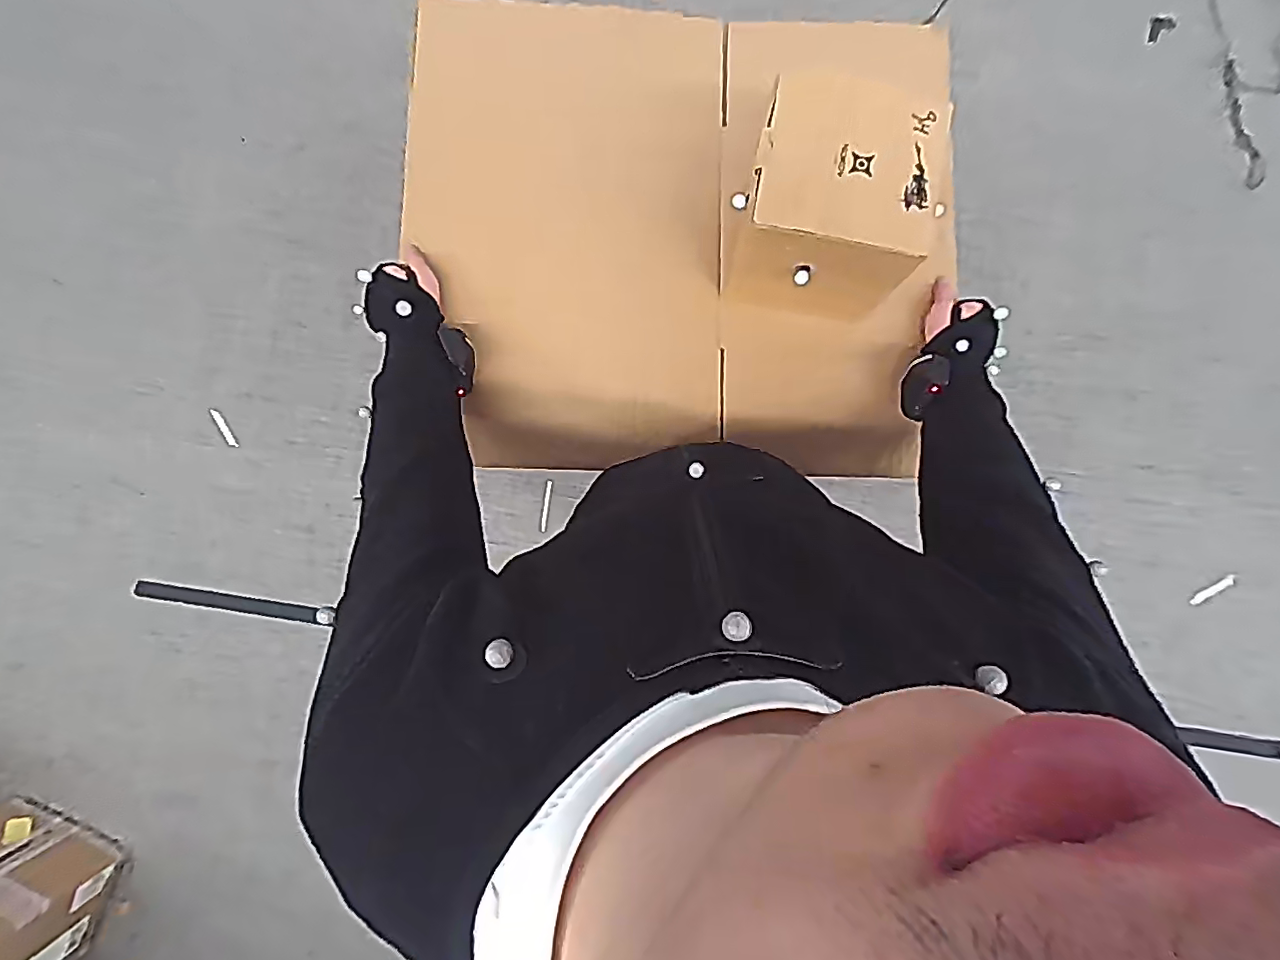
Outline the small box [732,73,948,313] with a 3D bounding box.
[{"bbox_3d":[0.209,-0.308,0.613,0.179,0.176,0.168,11,85,3],"label":"small box"}]
